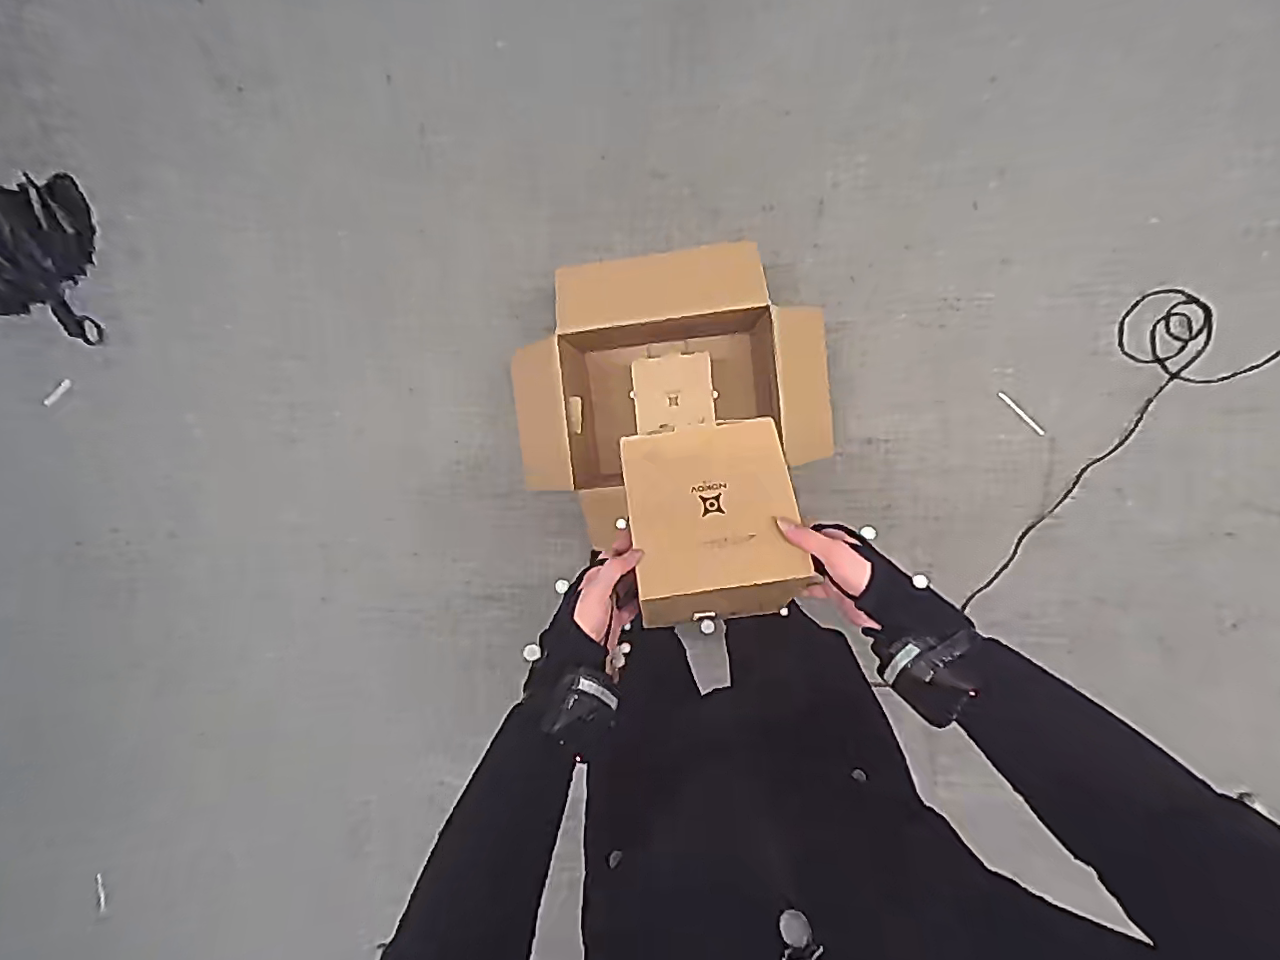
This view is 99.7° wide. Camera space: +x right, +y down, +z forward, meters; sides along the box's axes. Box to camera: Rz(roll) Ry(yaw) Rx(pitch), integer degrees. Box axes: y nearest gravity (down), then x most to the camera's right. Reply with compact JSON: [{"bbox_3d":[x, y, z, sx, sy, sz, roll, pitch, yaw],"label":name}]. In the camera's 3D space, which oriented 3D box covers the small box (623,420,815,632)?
[{"bbox_3d":[0.074,0.058,0.604,0.168,0.176,0.179,-8,65,-1],"label":"small box"}]
